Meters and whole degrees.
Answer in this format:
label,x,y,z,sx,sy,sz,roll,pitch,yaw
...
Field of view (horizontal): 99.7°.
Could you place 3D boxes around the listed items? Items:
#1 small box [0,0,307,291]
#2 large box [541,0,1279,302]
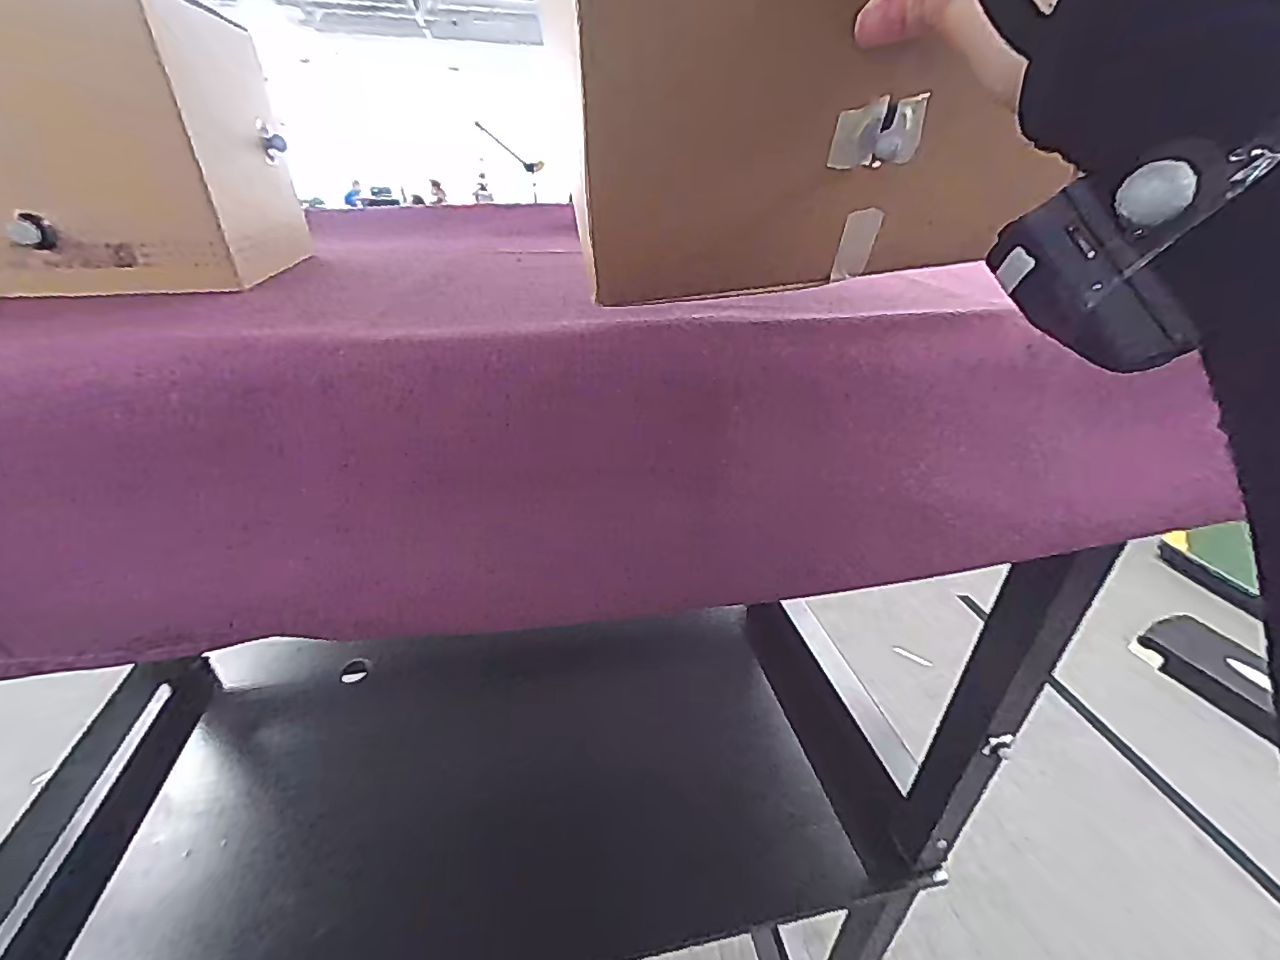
label,x,y,z,sx,sy,sz,roll,pitch,yaw
small box,-0.362,-0.235,0.379,0.168,0.176,0.179,-6,31,-11
large box,0.094,-0.364,0.275,0.320,0.320,0.408,-9,65,-6
